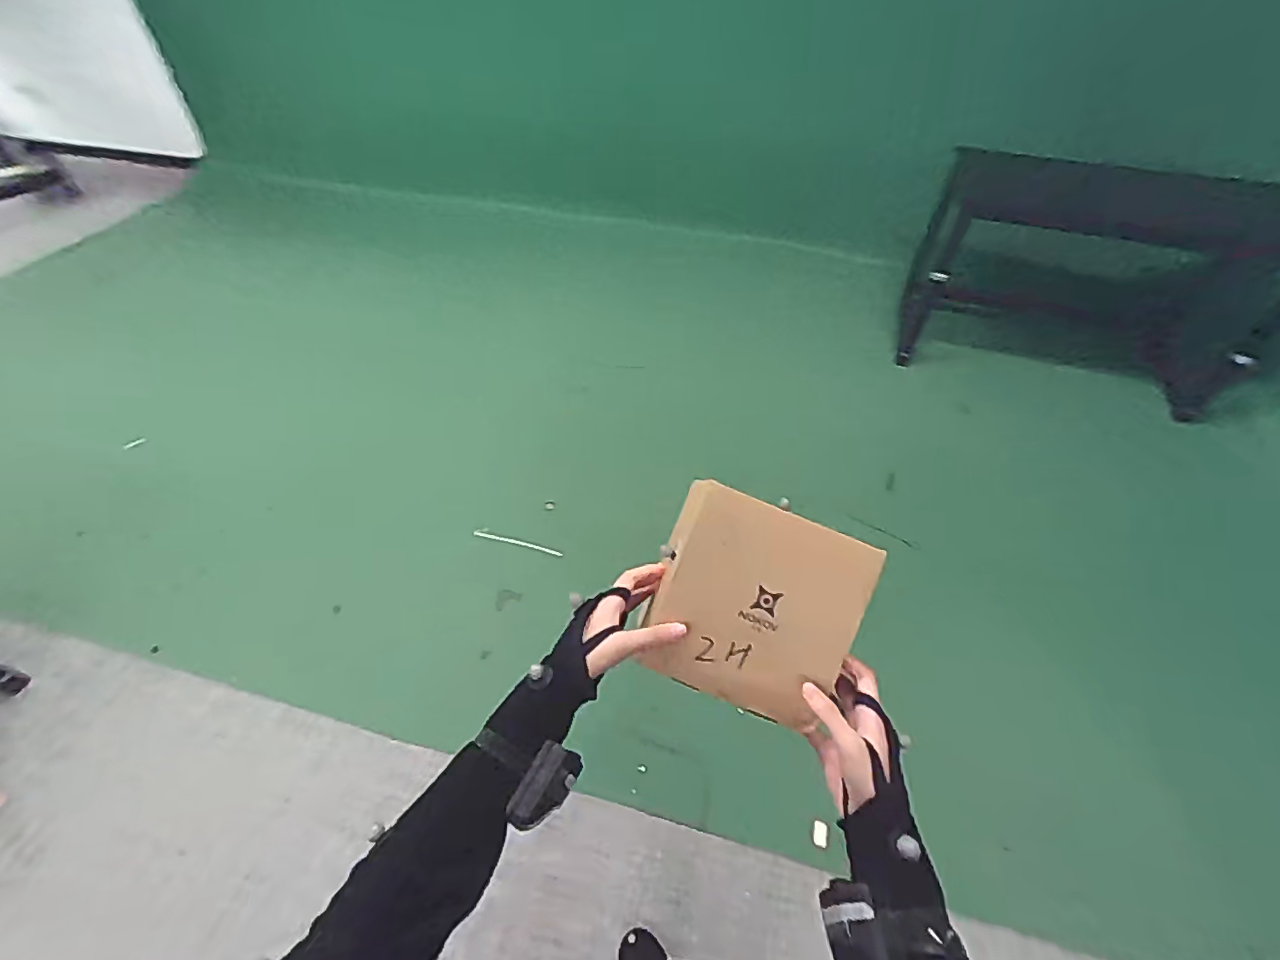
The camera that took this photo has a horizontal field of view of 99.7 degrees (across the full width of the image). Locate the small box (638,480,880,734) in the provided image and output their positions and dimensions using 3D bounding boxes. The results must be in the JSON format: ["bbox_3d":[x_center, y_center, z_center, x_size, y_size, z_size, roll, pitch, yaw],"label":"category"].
[{"bbox_3d":[0.103,0.111,0.547,0.168,0.176,0.179,22,89,1],"label":"small box"}]
